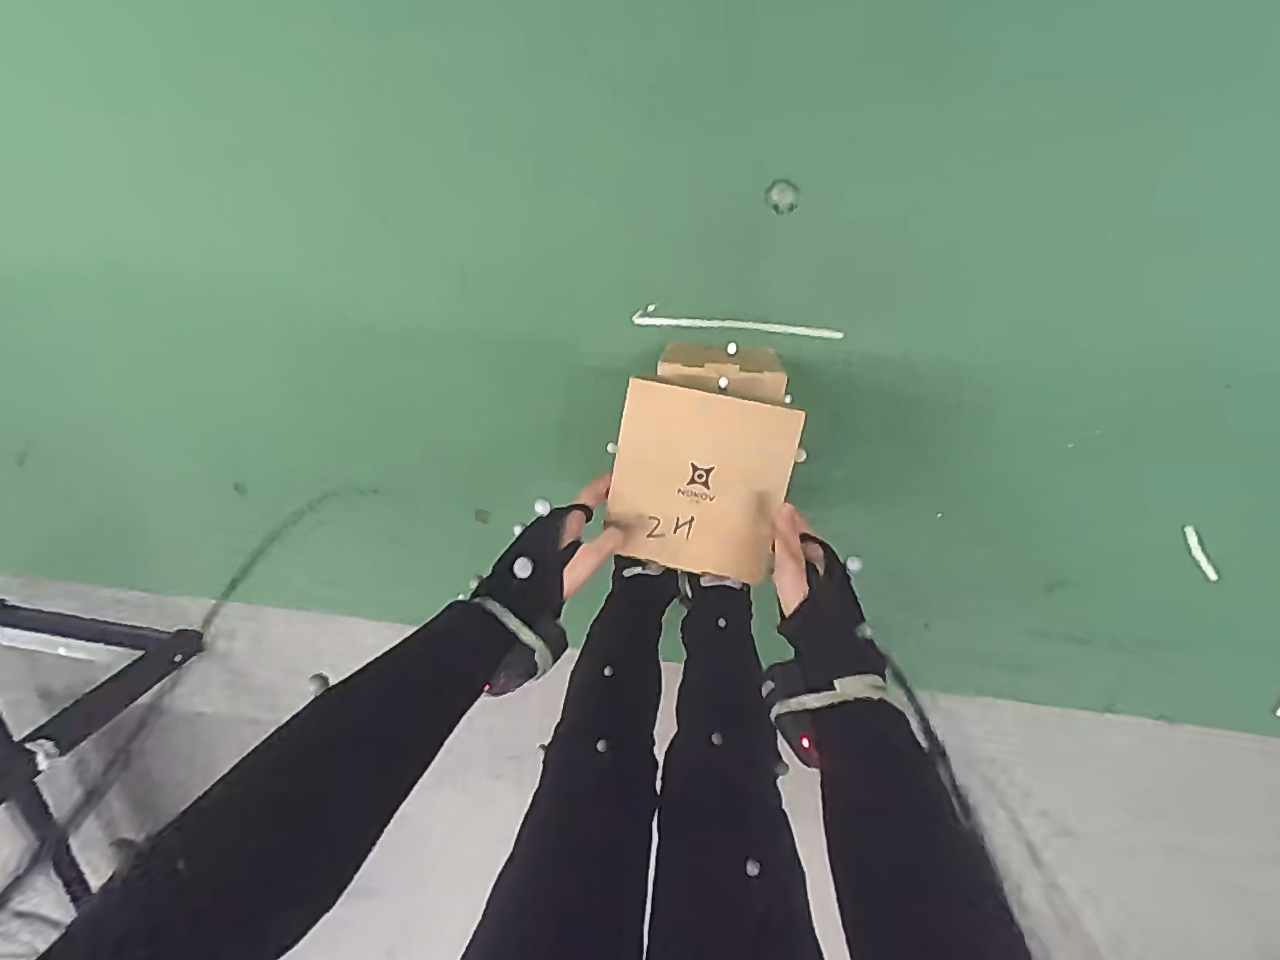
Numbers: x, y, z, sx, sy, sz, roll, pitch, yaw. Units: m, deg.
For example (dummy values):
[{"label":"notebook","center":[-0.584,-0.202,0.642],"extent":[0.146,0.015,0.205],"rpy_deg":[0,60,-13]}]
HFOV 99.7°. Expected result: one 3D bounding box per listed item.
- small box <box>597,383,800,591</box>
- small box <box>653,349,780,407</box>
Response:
[{"label":"small box","center":[0.059,-0.006,0.586],"extent":[0.168,0.176,0.179],"rpy_deg":[11,102,5]},{"label":"small box","center":[0.107,-0.089,0.800],"extent":[0.168,0.176,0.179],"rpy_deg":[5,112,7]}]
